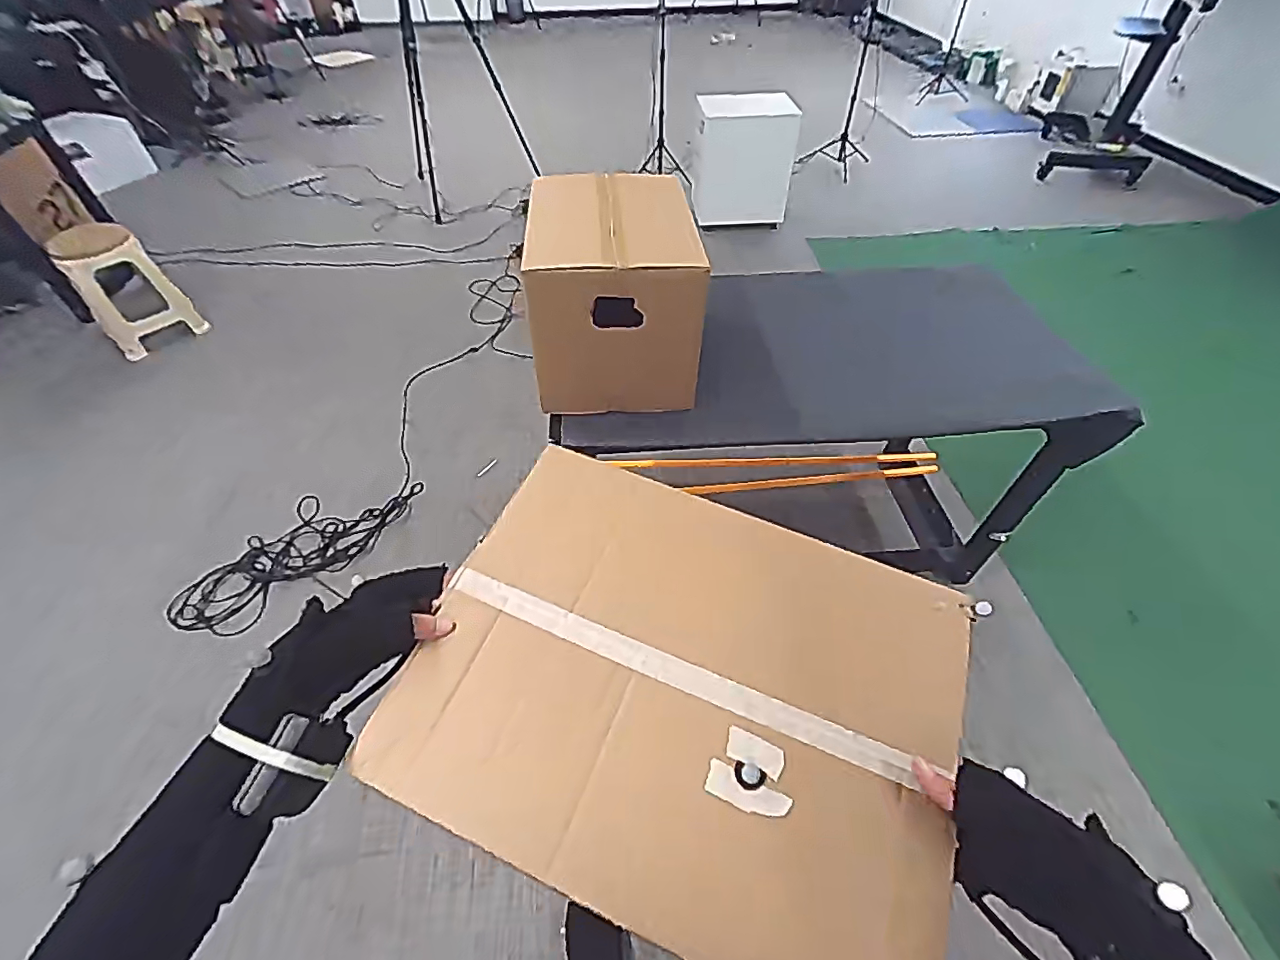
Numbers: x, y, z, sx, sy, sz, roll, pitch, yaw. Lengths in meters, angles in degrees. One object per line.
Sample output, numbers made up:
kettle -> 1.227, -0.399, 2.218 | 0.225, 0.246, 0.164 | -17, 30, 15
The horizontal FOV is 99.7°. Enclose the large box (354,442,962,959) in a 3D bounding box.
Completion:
large box -> 0.030, 0.221, 0.547 | 0.408, 0.320, 0.320 | 20, 60, 11
